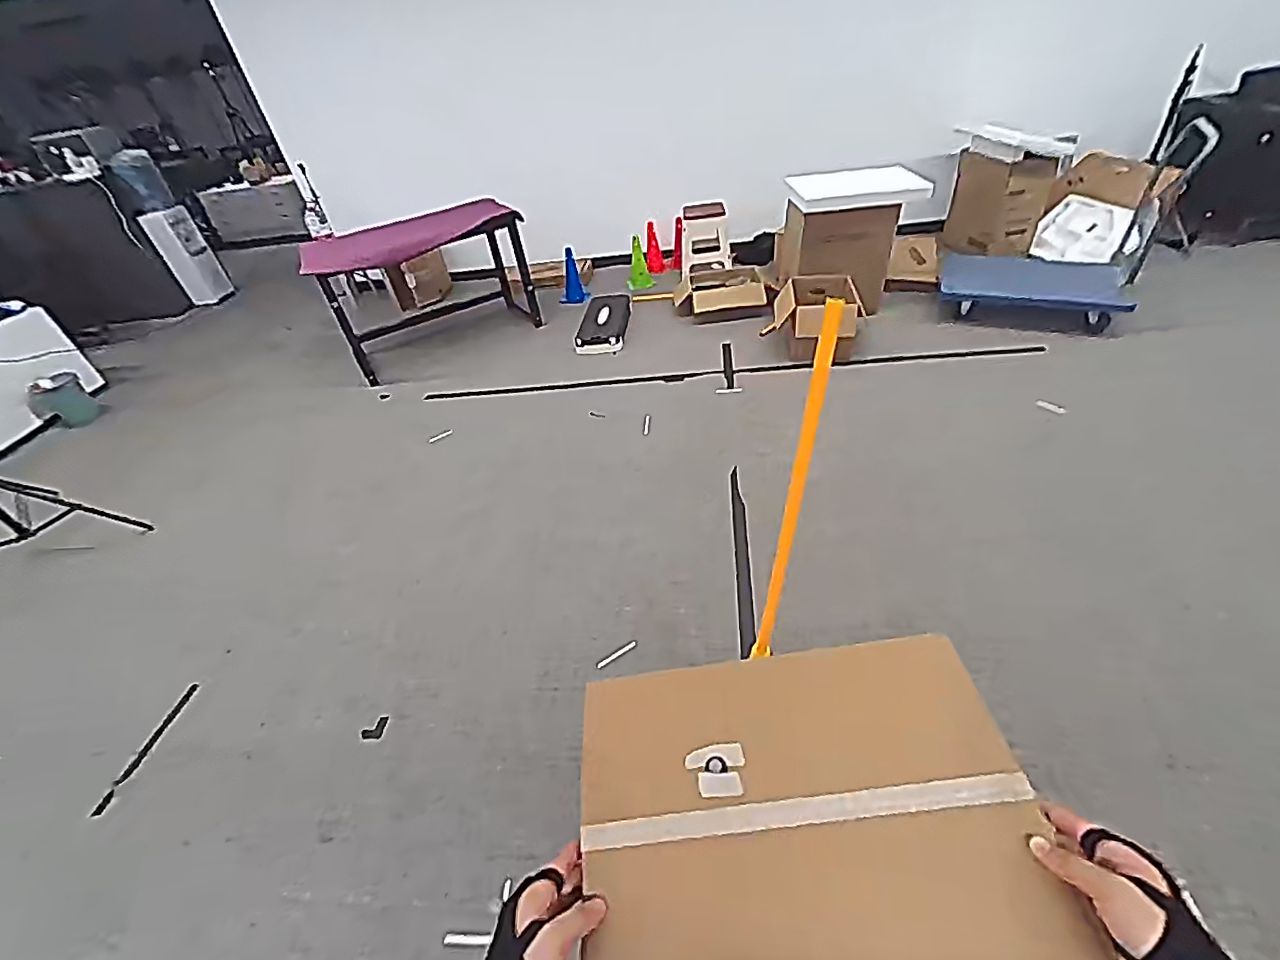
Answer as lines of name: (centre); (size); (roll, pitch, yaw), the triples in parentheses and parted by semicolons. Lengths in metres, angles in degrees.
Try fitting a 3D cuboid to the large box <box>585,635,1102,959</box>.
large box: (0.172, 0.418, 0.607); (0.408, 0.320, 0.320); (-11, 42, 5)
